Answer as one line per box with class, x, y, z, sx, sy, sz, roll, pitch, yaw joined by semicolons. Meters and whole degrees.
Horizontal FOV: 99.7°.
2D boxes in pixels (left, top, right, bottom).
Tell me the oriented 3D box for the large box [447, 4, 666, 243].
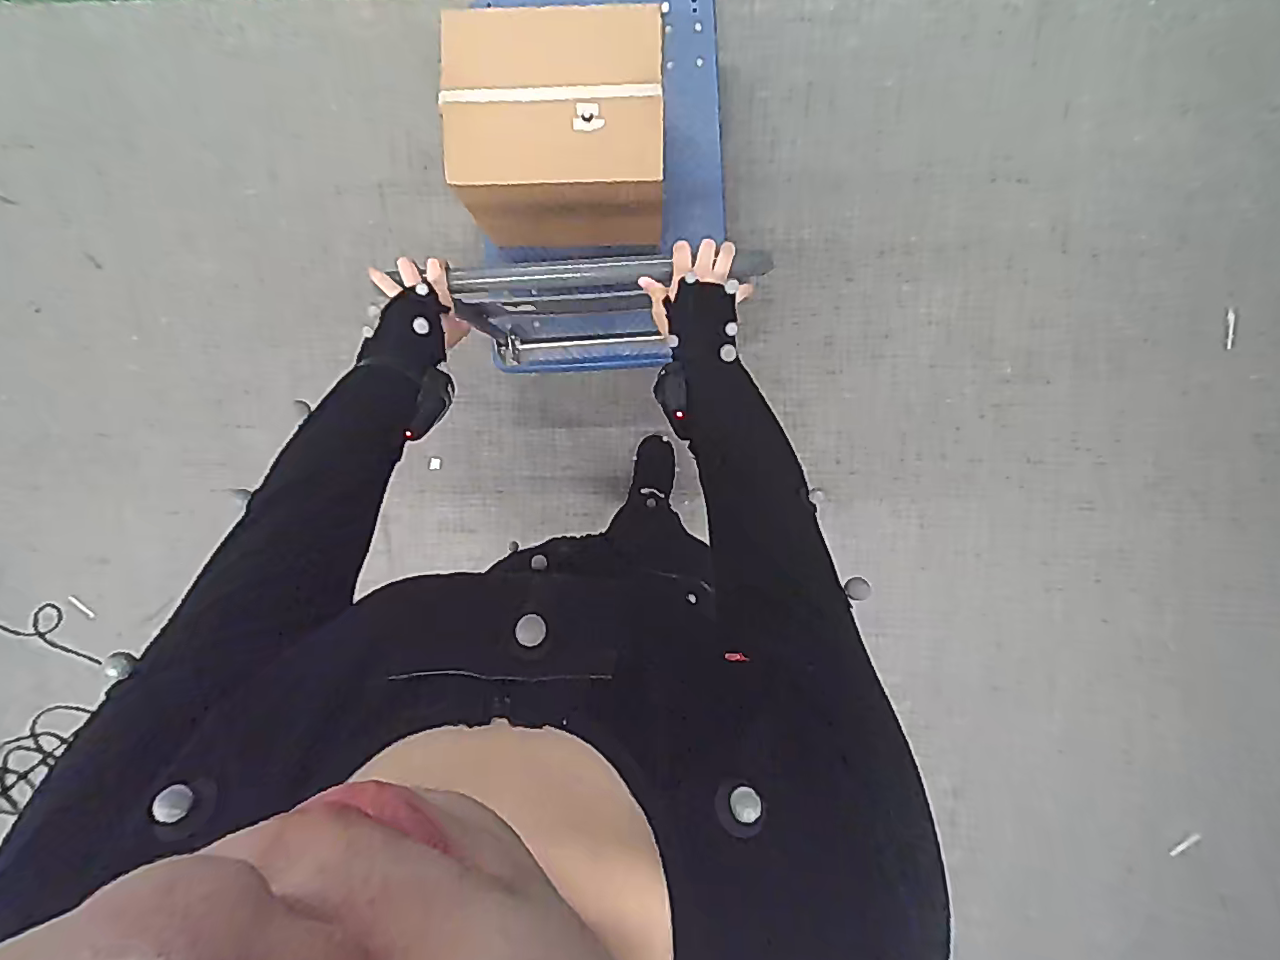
large box;-0.155;-0.723;1.149;0.408;0.320;0.320;-1;93;1
